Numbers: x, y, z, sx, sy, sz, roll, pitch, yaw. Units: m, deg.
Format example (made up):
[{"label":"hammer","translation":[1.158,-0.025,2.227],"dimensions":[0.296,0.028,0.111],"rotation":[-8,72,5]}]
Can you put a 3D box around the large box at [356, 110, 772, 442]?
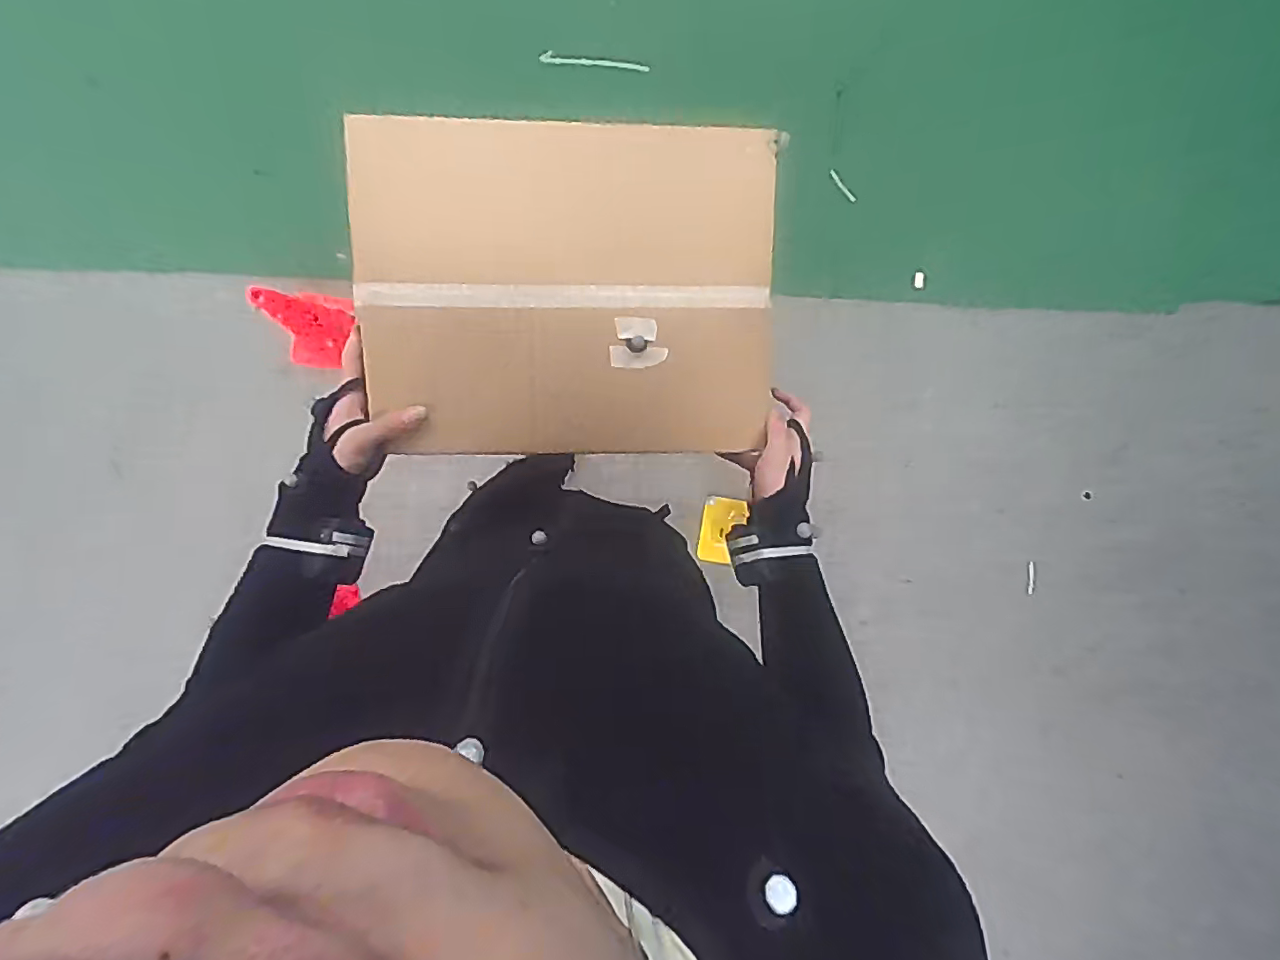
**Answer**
[{"label":"large box","translation":[-0.080,-0.220,0.686],"dimensions":[0.408,0.320,0.320],"rotation":[-1,100,-5]}]

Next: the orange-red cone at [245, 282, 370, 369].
[{"label":"orange-red cone","translation":[-0.855,-0.414,1.345],"dimensions":[0.199,0.360,0.198],"rotation":[8,91,-5]}]
